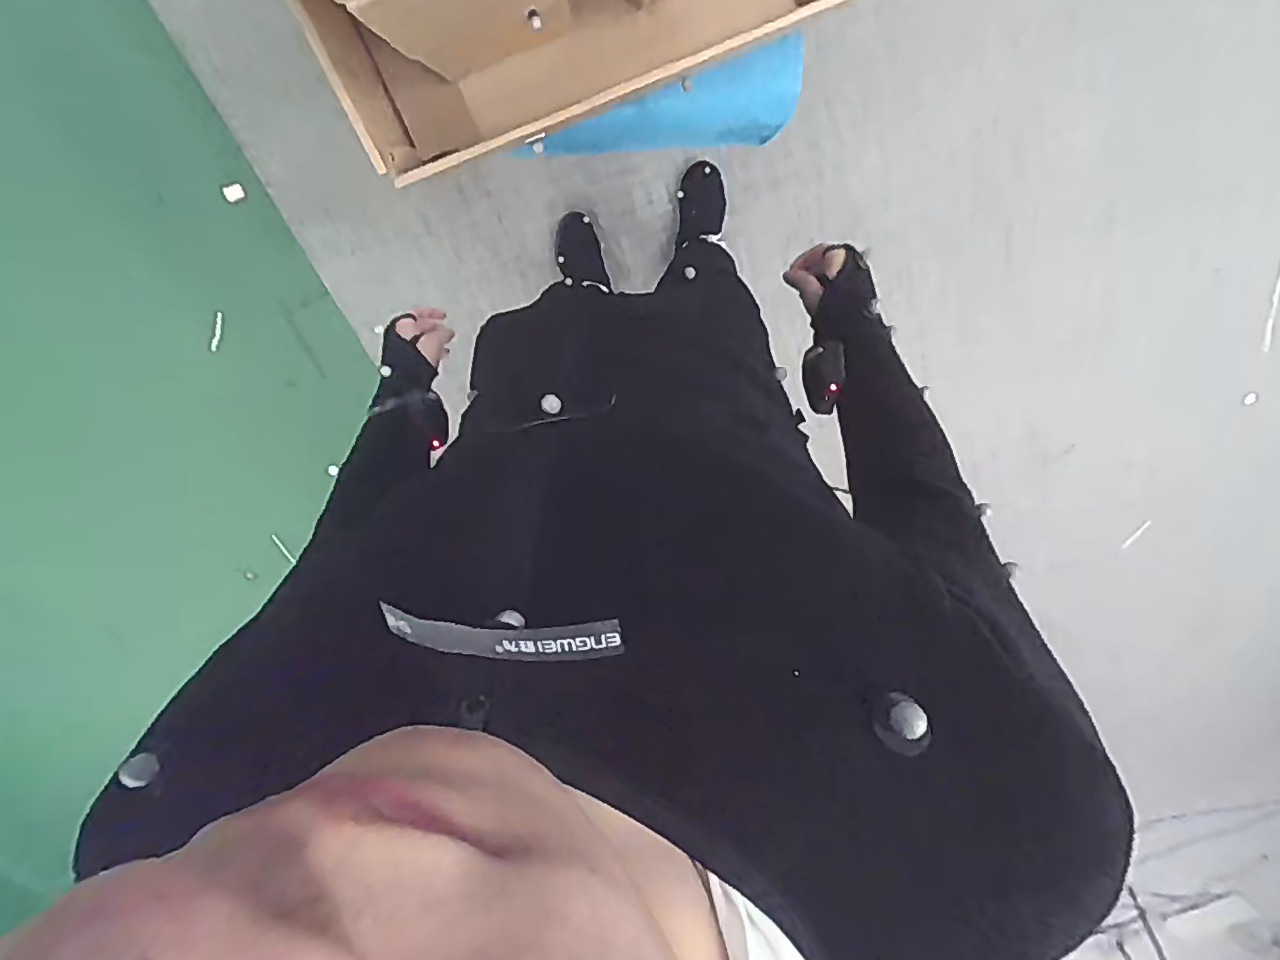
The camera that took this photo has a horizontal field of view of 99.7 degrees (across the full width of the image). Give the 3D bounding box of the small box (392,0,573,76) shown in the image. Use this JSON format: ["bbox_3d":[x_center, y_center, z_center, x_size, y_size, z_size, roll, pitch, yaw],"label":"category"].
[{"bbox_3d":[-0.185,-0.576,0.586,0.179,0.176,0.168,-20,118,6],"label":"small box"}]
